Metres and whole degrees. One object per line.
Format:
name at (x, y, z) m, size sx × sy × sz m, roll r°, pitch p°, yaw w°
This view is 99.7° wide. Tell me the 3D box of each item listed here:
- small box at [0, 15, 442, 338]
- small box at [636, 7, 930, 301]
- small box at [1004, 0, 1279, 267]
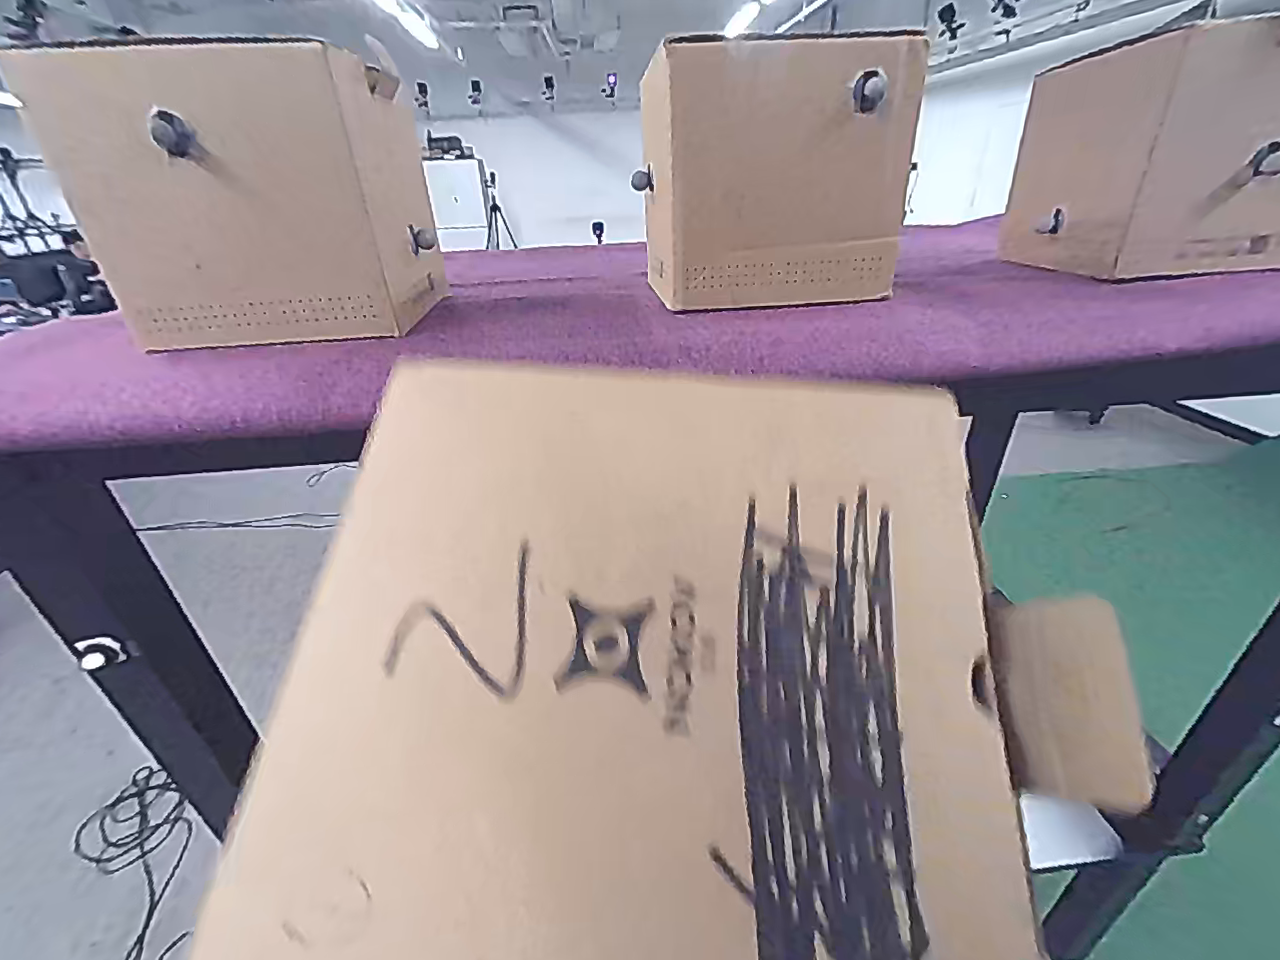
small box at (-0.265, -0.207, 0.394) m, size 0.179 × 0.176 × 0.168 m, roll -5°, pitch 31°, yaw -4°
small box at (0.094, -0.244, 0.436) m, size 0.179 × 0.176 × 0.168 m, roll -4°, pitch 28°, yaw -4°
small box at (0.453, -0.280, 0.458) m, size 0.168 × 0.176 × 0.179 m, roll -3°, pitch 28°, yaw 3°
